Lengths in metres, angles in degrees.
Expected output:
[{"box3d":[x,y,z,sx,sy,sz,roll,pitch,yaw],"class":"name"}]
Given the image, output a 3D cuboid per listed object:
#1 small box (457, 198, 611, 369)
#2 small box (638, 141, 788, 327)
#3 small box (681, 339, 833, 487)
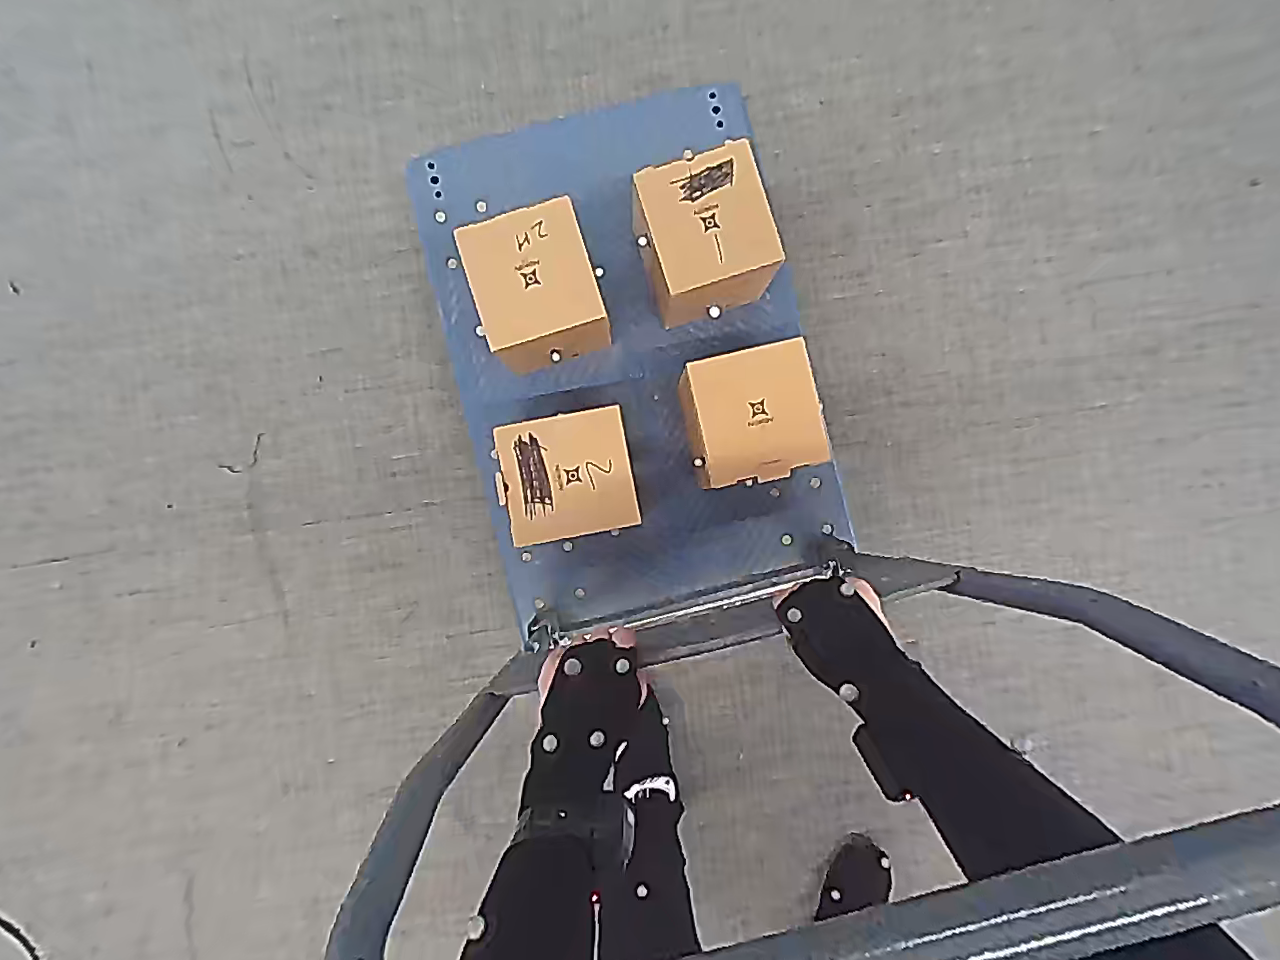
[{"box3d":[-0.145,-0.274,0.804,0.168,0.176,0.179,-17,90,-1],"class":"small box"},{"box3d":[0.097,-0.352,0.805,0.168,0.176,0.179,-17,91,0],"class":"small box"},{"box3d":[0.162,-0.089,0.806,0.168,0.176,0.179,-13,90,-1],"class":"small box"}]
